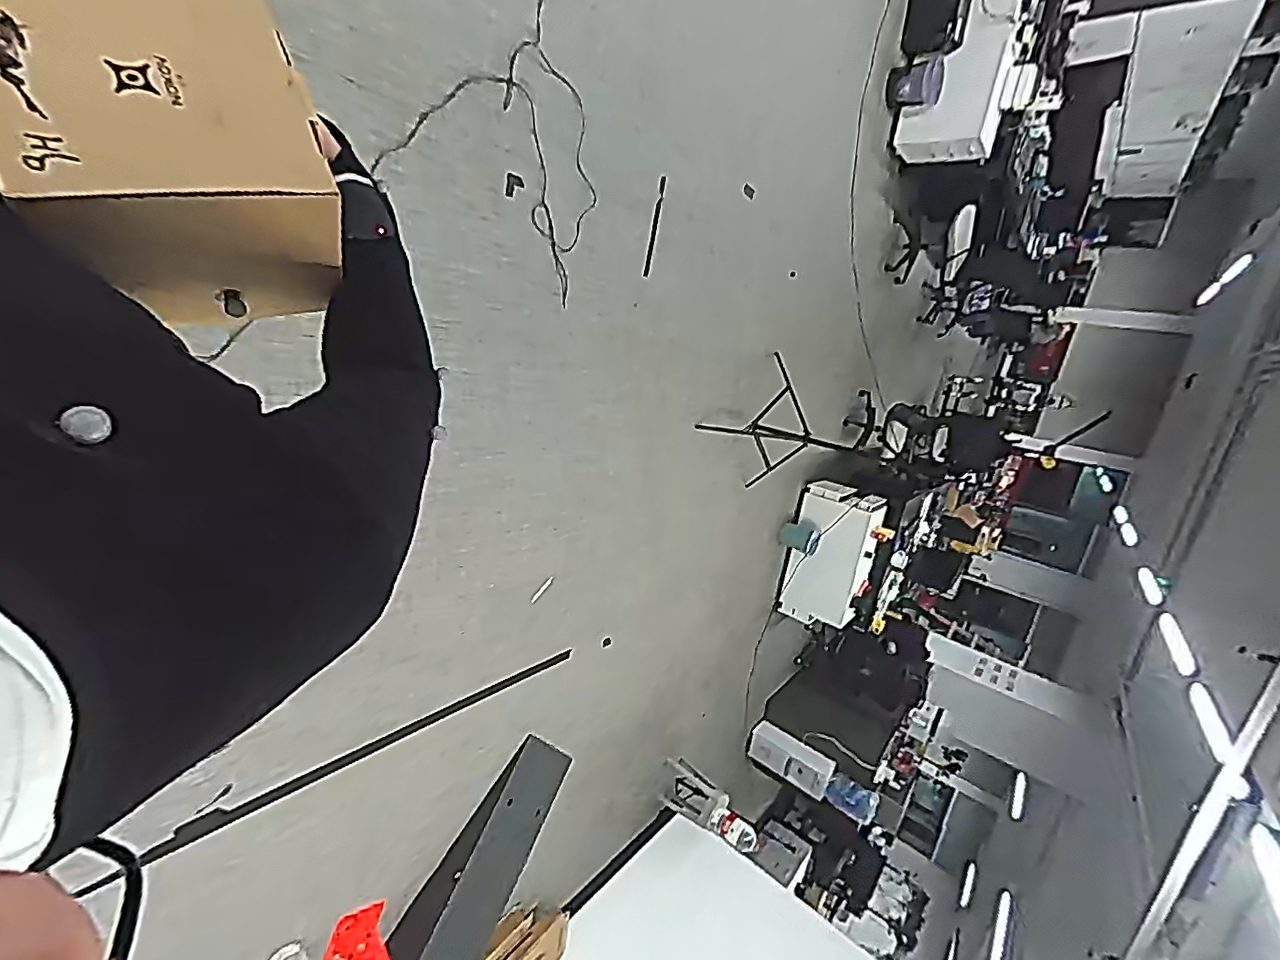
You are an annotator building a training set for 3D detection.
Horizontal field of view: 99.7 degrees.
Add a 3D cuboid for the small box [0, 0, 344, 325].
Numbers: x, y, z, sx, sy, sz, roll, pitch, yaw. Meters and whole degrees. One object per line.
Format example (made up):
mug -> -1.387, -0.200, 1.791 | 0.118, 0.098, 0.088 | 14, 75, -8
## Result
small box -> -0.361, -0.245, 0.436 | 0.179, 0.176, 0.168 | -20, 86, -32
